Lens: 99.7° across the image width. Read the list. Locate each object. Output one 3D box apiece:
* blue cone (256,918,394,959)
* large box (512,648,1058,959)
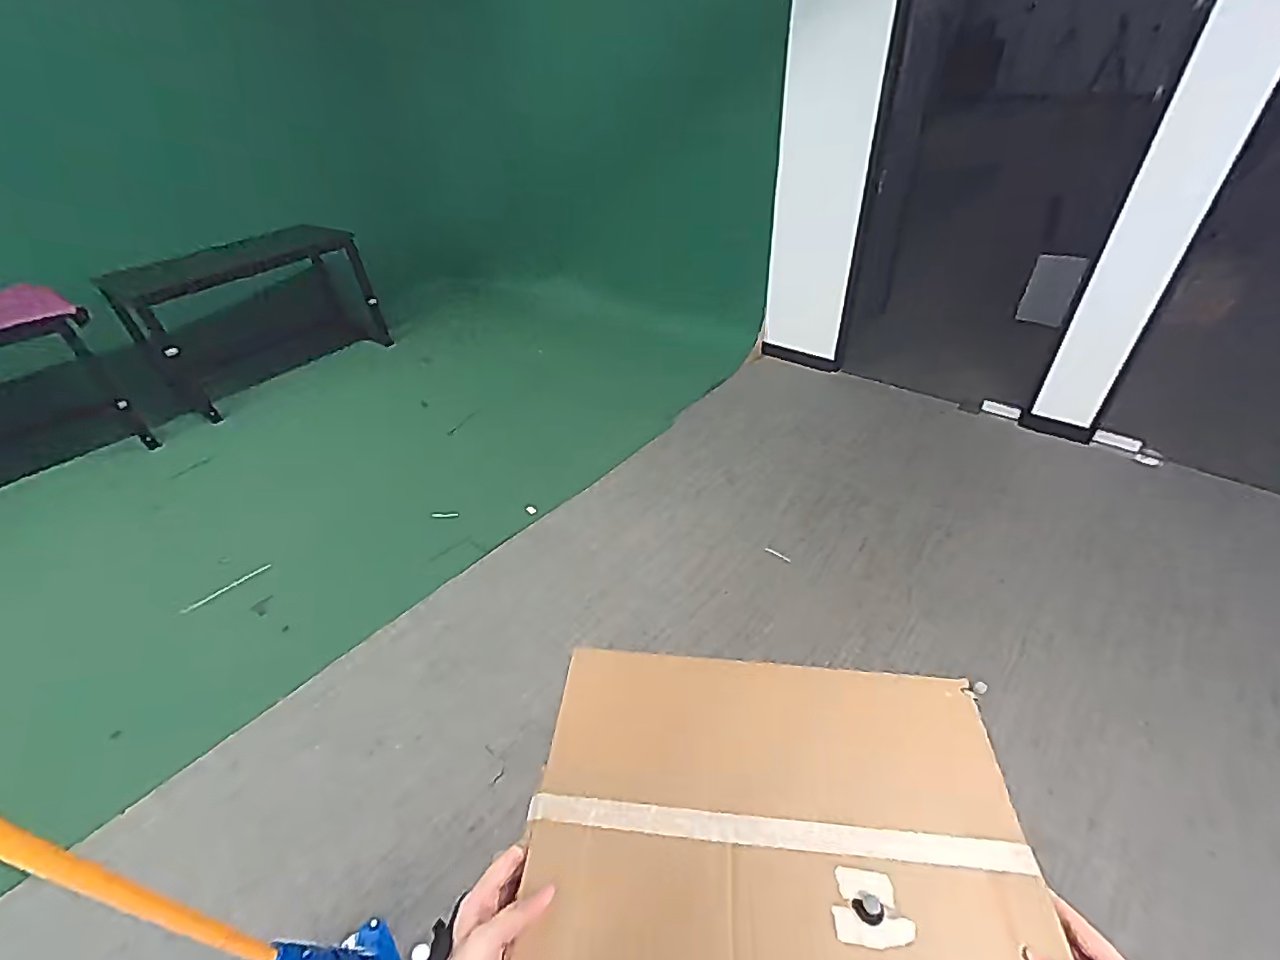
[{"bbox_3d":[-0.630,0.951,1.043,0.193,0.380,0.192,-29,44,-28],"label":"blue cone"},{"bbox_3d":[0.114,0.406,0.556,0.408,0.320,0.320,4,42,5],"label":"large box"}]
